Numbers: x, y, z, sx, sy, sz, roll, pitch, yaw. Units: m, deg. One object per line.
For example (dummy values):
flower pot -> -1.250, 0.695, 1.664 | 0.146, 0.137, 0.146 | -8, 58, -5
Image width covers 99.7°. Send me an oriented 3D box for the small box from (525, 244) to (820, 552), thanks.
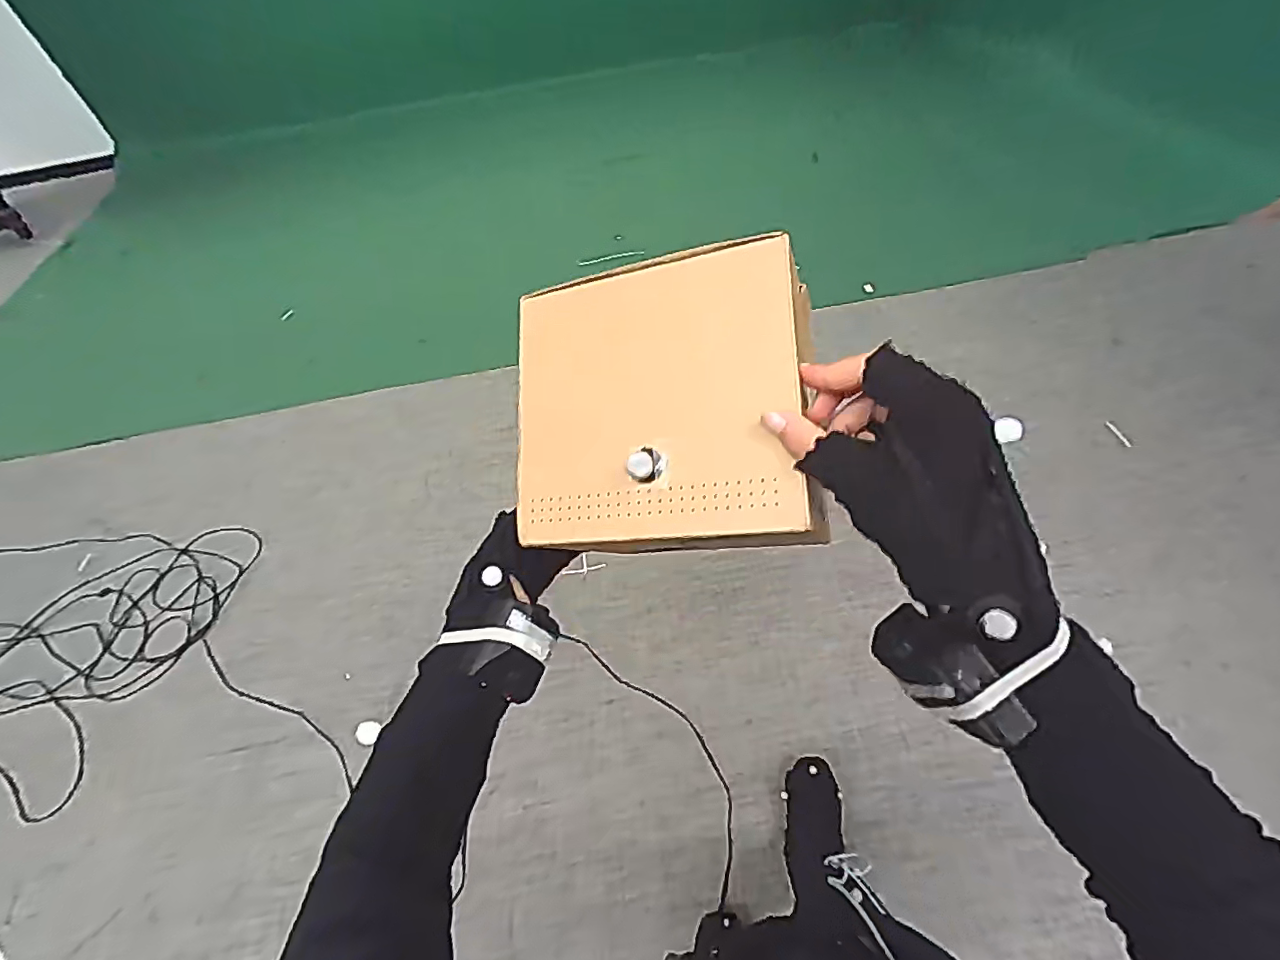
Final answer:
small box -> 0.033, -0.035, 0.398 | 0.179, 0.168, 0.176 | -6, 77, 21
